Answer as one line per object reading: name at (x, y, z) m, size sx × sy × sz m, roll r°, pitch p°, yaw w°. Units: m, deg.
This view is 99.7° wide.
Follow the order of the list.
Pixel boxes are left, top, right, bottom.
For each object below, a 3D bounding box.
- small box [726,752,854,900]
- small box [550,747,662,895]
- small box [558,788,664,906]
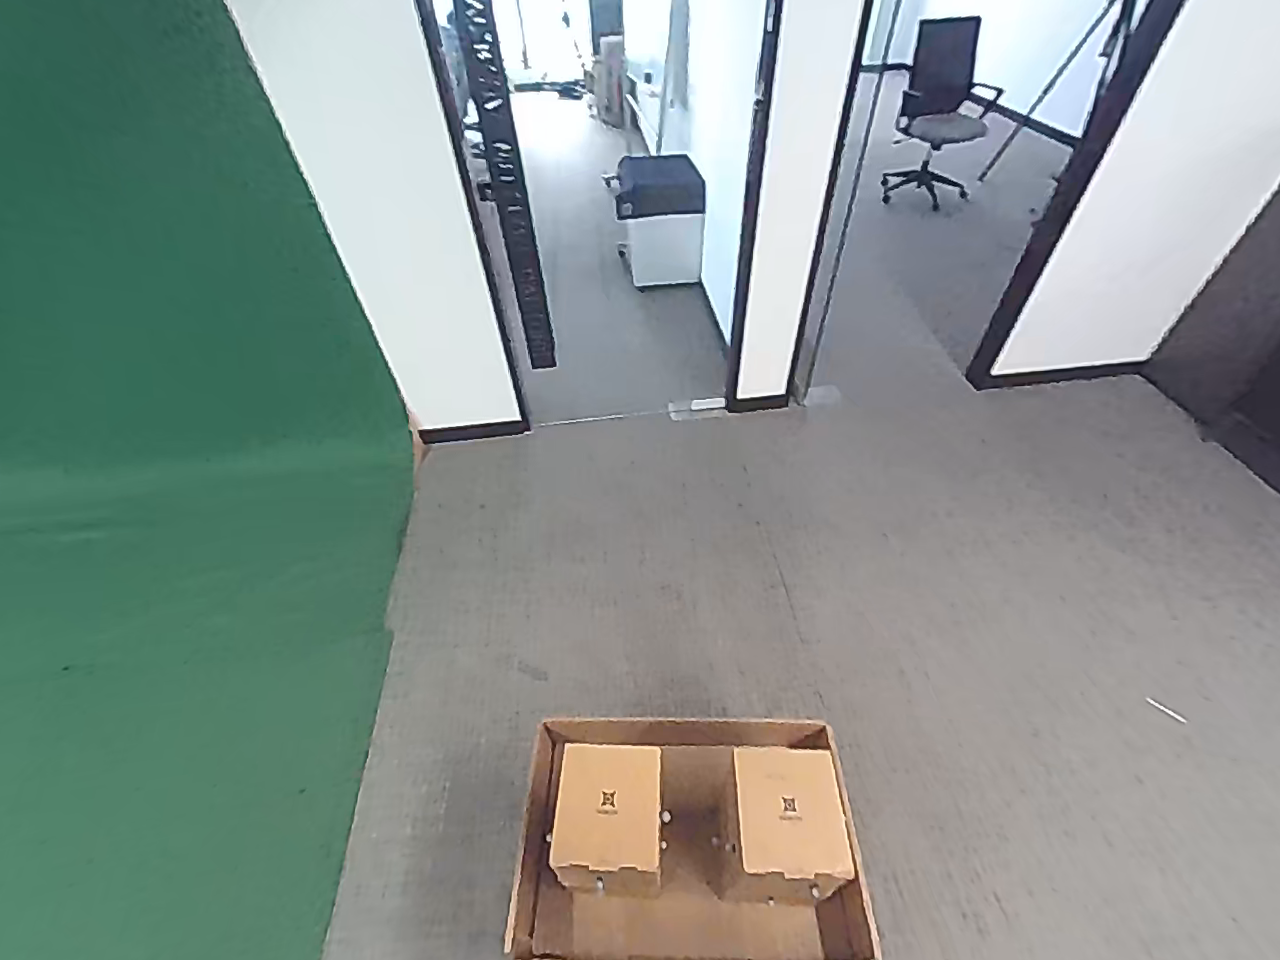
small box at (0.236, 0.576, 0.898) m, size 0.168 × 0.176 × 0.179 m, roll 1°, pitch 44°, yaw 3°
small box at (-0.048, 0.577, 0.916) m, size 0.168 × 0.176 × 0.179 m, roll 1°, pitch 46°, yaw 3°
small box at (-0.046, 0.694, 1.031) m, size 0.179 × 0.176 × 0.168 m, roll 2°, pitch 46°, yaw 4°
